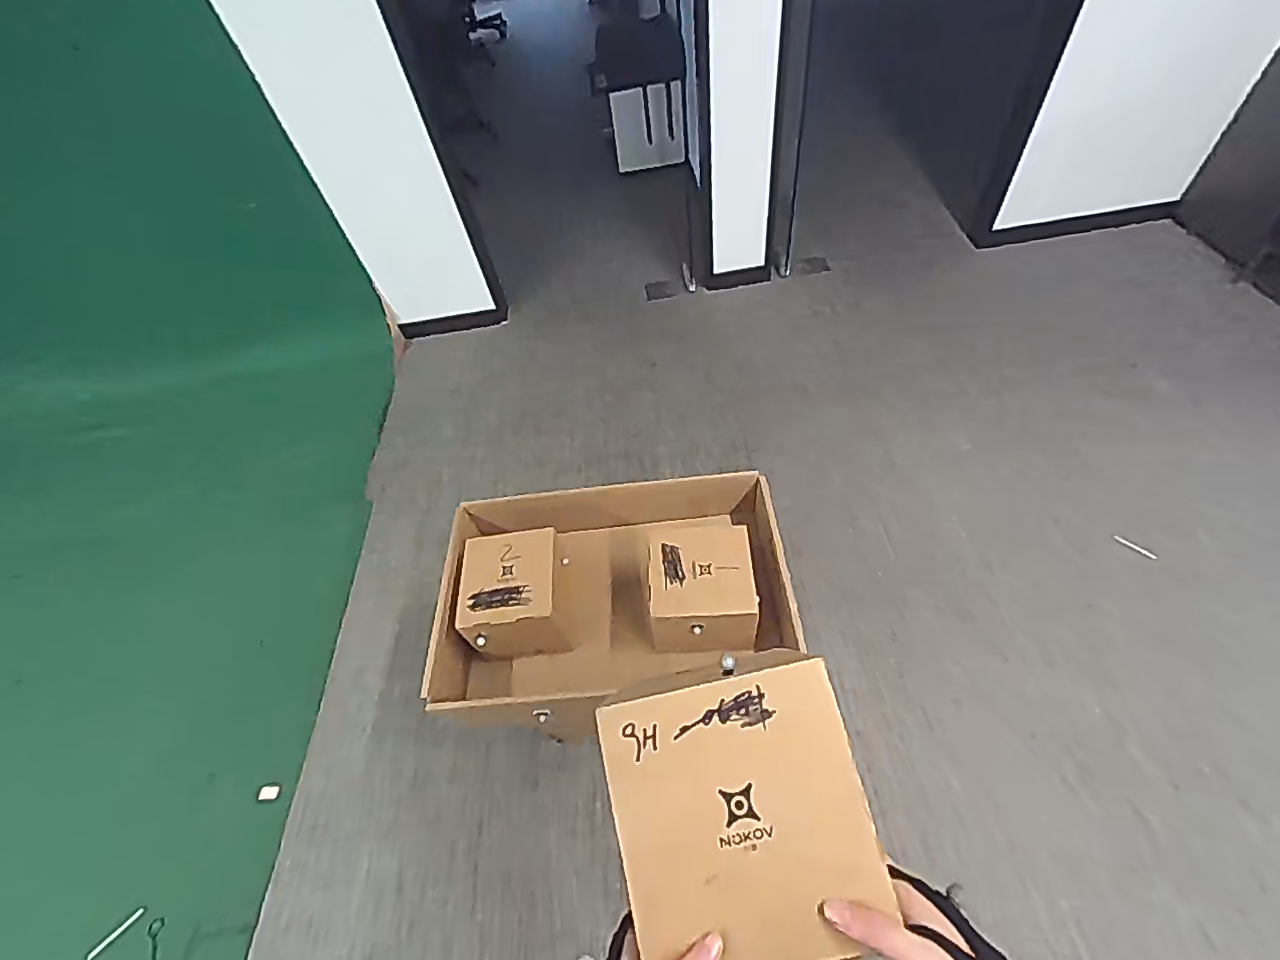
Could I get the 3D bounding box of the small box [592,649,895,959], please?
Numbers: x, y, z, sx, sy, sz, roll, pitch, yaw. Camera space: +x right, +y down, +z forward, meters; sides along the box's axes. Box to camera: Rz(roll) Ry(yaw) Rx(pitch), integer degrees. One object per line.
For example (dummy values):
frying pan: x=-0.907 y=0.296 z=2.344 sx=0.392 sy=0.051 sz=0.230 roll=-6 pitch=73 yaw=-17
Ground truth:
small box: x=0.071 y=0.244 z=0.435 sx=0.168 sy=0.176 sz=0.179 roll=-14 pitch=73 yaw=2
